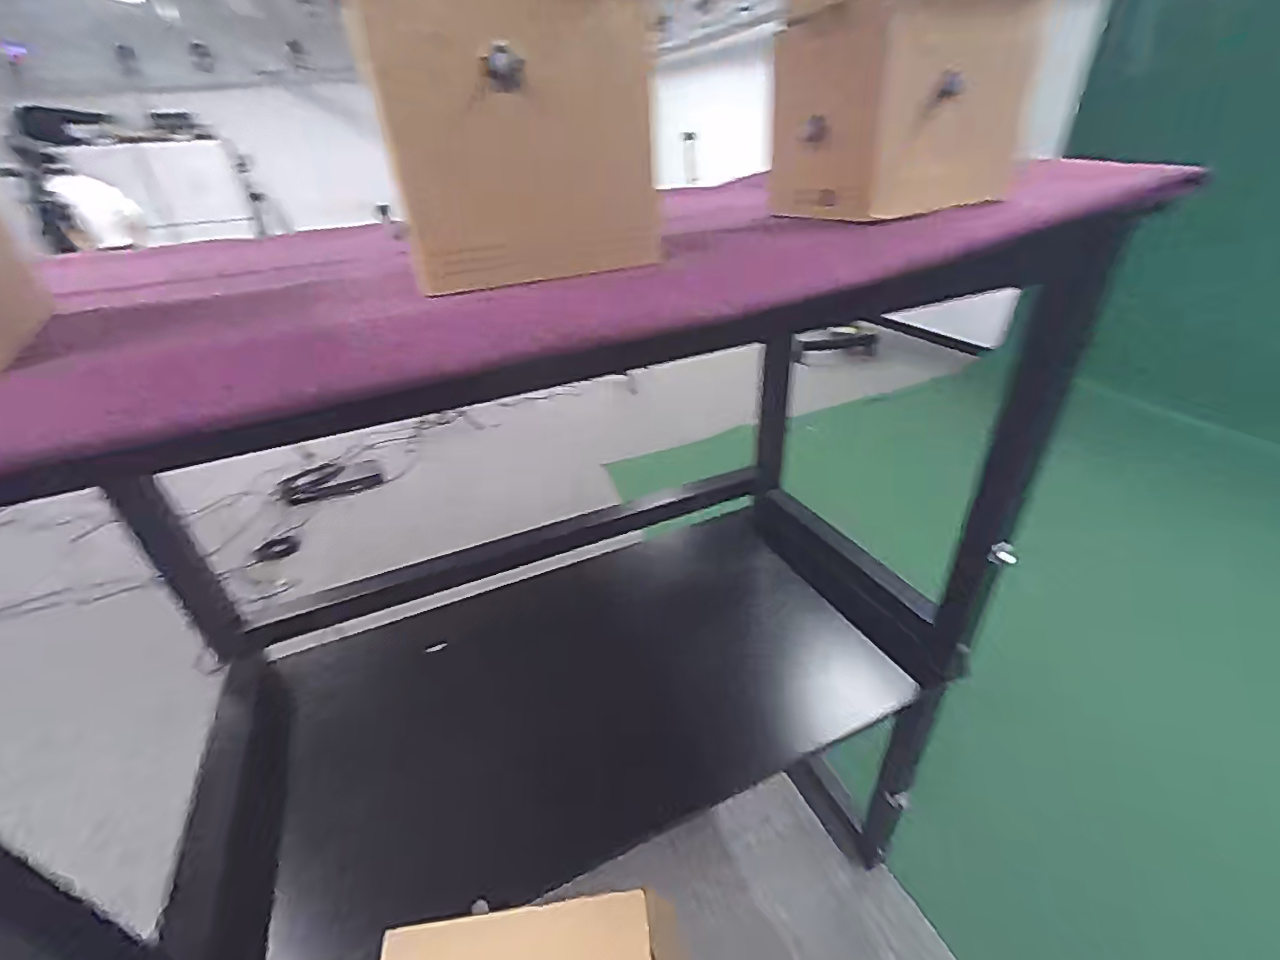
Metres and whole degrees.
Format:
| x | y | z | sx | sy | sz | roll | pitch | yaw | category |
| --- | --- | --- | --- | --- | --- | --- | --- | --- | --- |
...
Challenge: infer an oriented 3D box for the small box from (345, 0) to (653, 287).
| x | y | z | sx | sy | sz | roll | pitch | yaw | category |
| --- | --- | --- | --- | --- | --- | --- | --- | --- | --- |
| -0.100 | -0.253 | 0.410 | 0.179 | 0.176 | 0.168 | -15 | 35 | -18 | small box |

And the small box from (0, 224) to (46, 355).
| x | y | z | sx | sy | sz | roll | pitch | yaw | category |
| --- | --- | --- | --- | --- | --- | --- | --- | --- | --- |
| -0.446 | -0.131 | 0.254 | 0.168 | 0.176 | 0.179 | -23 | 38 | -29 | small box |

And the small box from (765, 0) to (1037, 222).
| x | y | z | sx | sy | sz | roll | pitch | yaw | category |
| --- | --- | --- | --- | --- | --- | --- | --- | --- | --- |
| 0.242 | -0.360 | 0.535 | 0.179 | 0.176 | 0.168 | -17 | 33 | -17 | small box |

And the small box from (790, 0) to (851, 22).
| x | y | z | sx | sy | sz | roll | pitch | yaw | category |
| --- | --- | --- | --- | --- | --- | --- | --- | --- | --- |
| 0.232 | -0.493 | 0.441 | 0.179 | 0.176 | 0.168 | -17 | 32 | -17 | small box |
